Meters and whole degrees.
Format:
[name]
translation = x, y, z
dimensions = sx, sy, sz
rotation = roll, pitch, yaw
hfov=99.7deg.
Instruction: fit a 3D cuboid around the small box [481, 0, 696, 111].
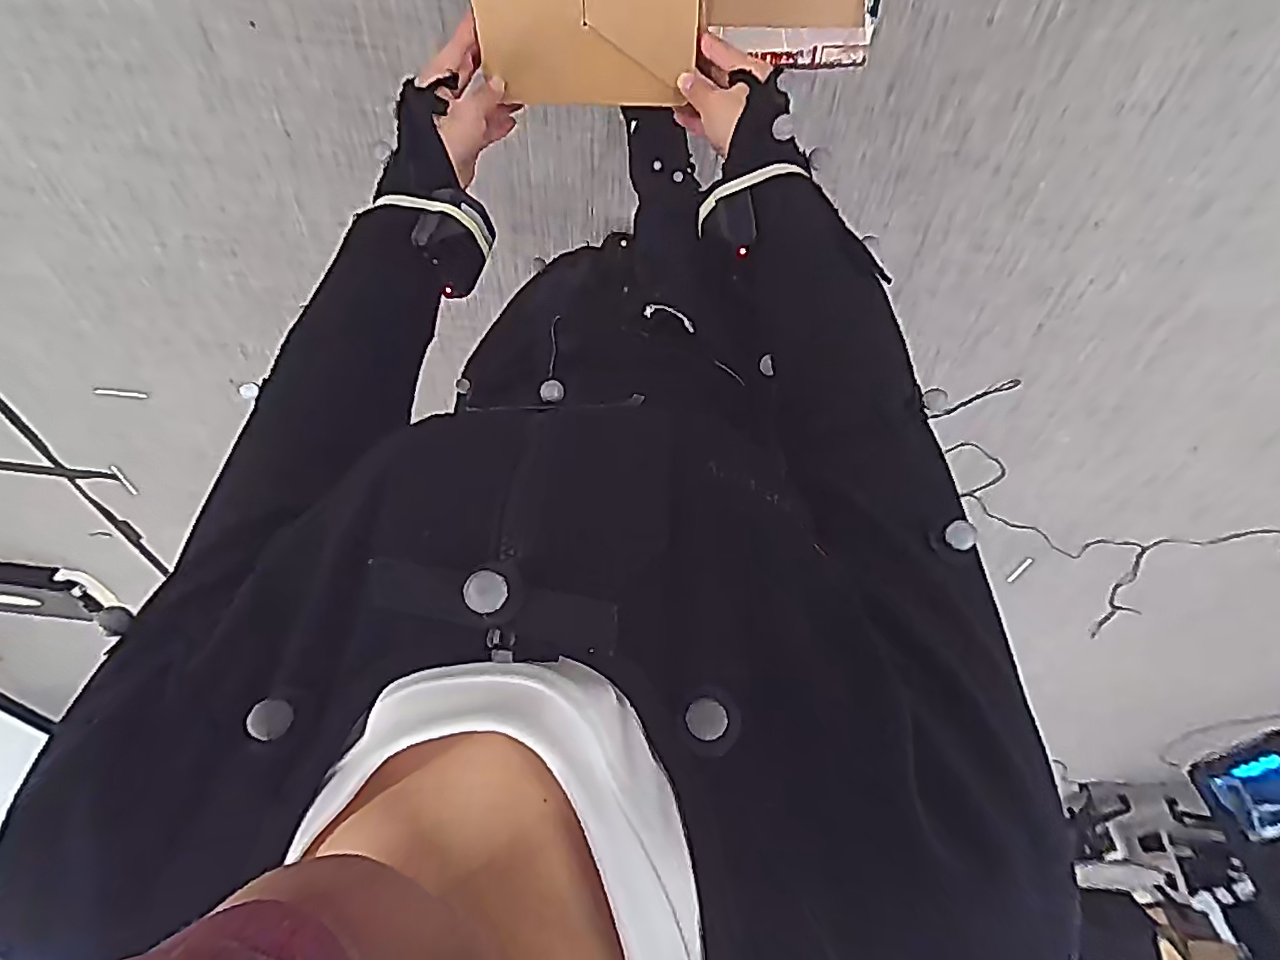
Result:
[small box]
translation = -0.039, -0.431, 0.467
dimensions = 0.179, 0.176, 0.168
rotation = 3, 132, 3
